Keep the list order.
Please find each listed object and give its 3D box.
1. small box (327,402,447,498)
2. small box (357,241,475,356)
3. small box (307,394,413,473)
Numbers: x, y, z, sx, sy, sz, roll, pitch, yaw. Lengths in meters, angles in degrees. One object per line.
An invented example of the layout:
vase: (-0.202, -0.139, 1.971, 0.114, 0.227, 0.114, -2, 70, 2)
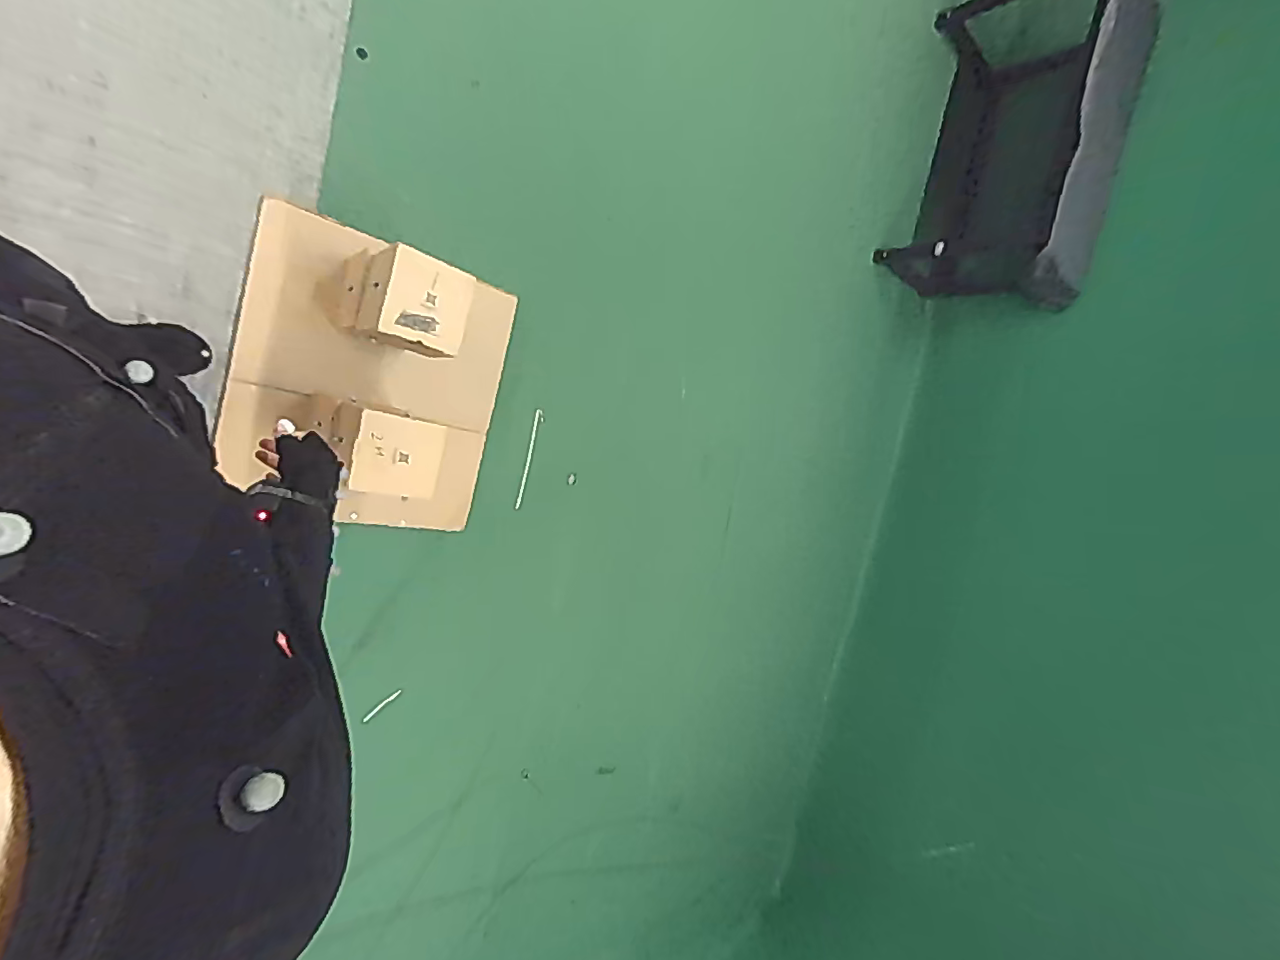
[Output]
small box: (-0.548, -0.068, 1.167, 0.179, 0.176, 0.168, 12, 94, -42)
small box: (-0.477, -0.371, 1.141, 0.168, 0.176, 0.179, 14, 90, -43)
small box: (-0.664, -0.104, 1.281, 0.179, 0.176, 0.168, 9, 96, -42)
